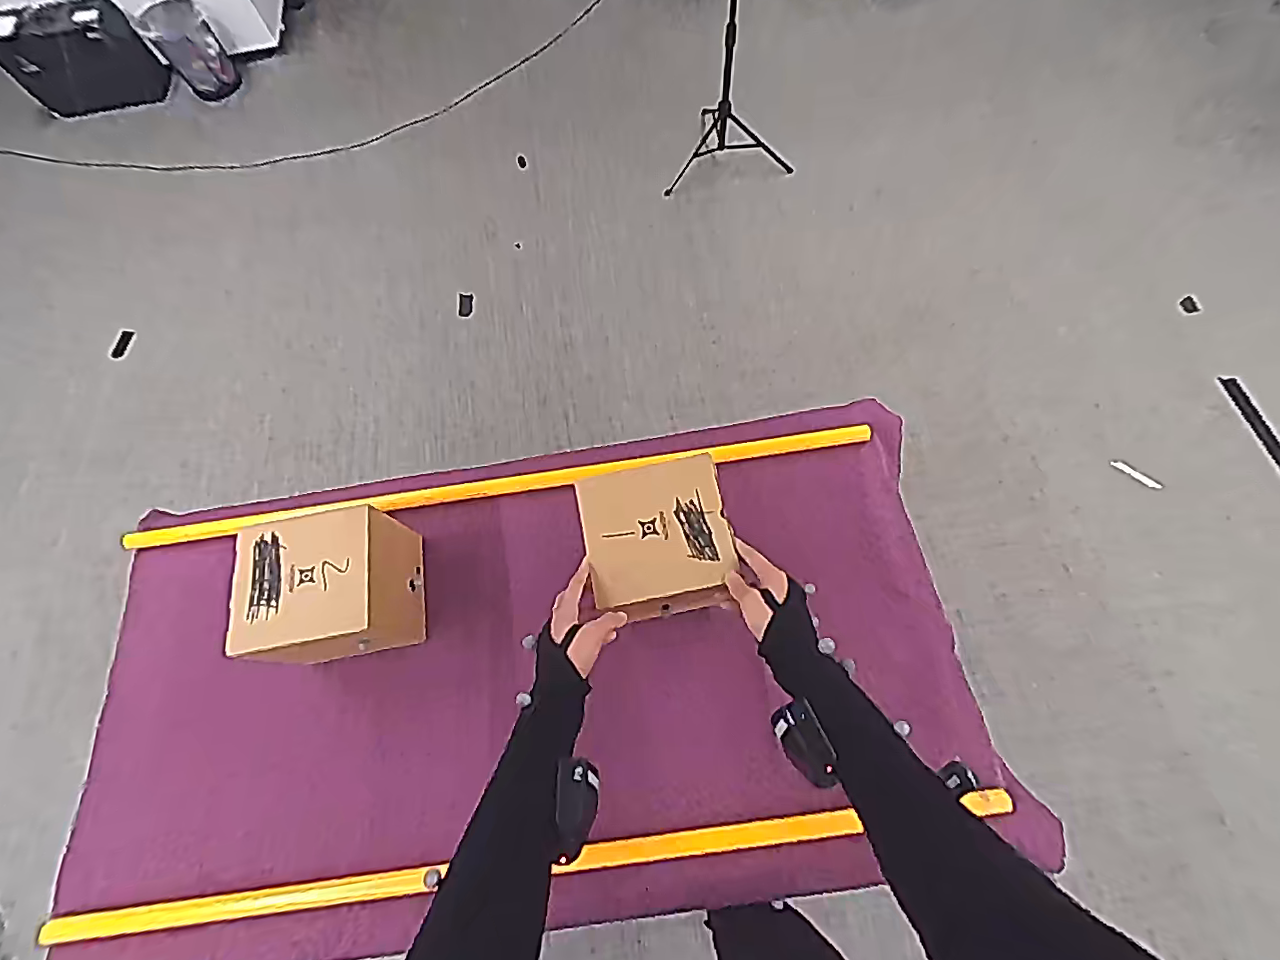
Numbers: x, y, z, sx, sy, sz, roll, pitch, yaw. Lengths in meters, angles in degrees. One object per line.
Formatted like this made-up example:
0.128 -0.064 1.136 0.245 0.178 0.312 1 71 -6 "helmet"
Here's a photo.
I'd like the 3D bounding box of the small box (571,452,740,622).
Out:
0.019 0.083 0.711 0.179 0.176 0.168 -12 69 0 "small box"
